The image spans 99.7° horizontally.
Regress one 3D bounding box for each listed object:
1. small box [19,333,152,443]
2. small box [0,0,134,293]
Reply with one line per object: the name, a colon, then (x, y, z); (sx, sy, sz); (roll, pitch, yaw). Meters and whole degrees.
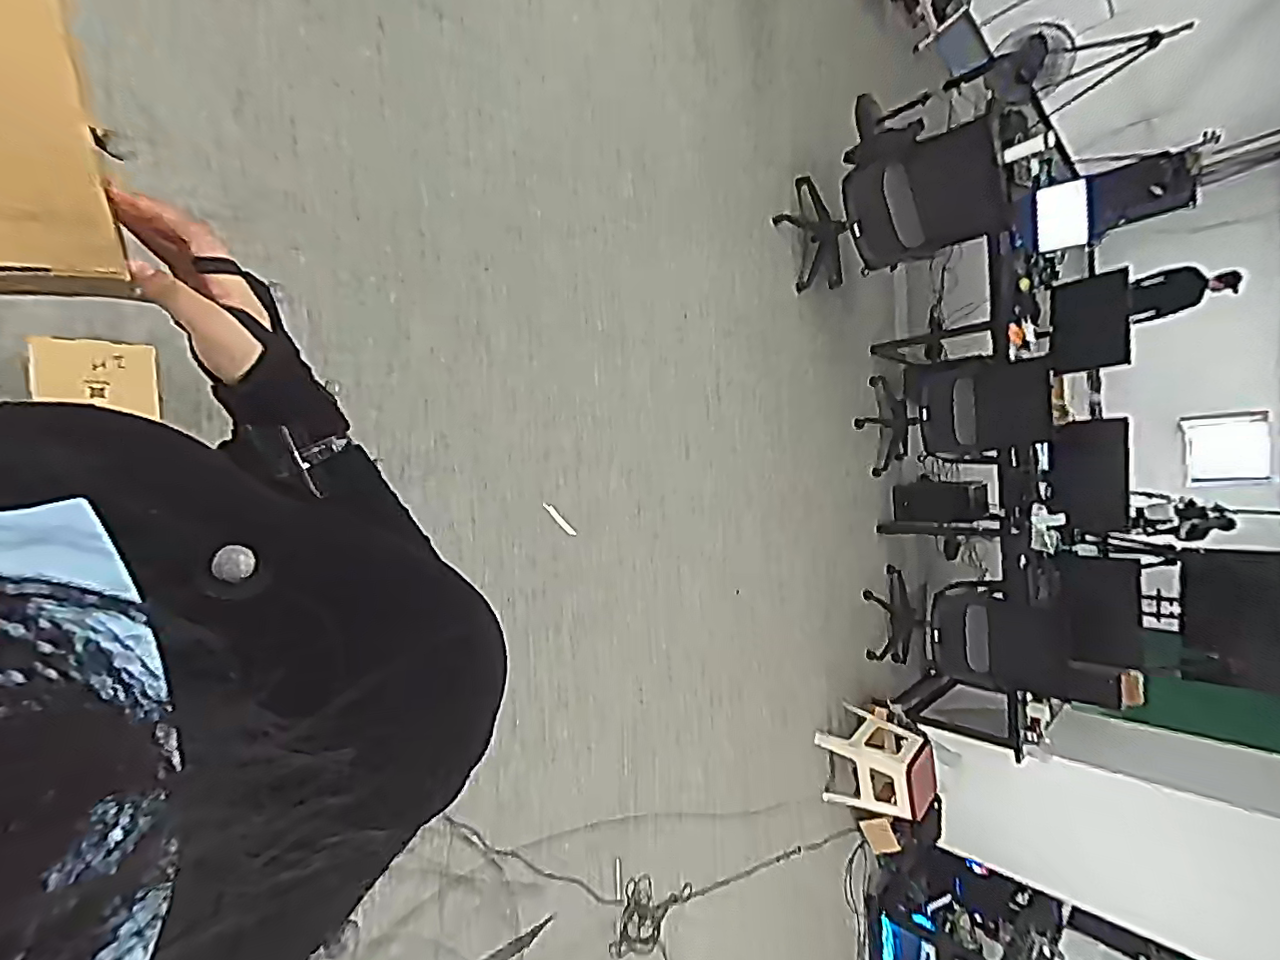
small box: (-1.042, -0.163, 1.028); (0.168, 0.176, 0.179); (-3, 90, -43)
small box: (-0.410, -0.204, 0.298); (0.168, 0.176, 0.179); (-14, 110, -39)
